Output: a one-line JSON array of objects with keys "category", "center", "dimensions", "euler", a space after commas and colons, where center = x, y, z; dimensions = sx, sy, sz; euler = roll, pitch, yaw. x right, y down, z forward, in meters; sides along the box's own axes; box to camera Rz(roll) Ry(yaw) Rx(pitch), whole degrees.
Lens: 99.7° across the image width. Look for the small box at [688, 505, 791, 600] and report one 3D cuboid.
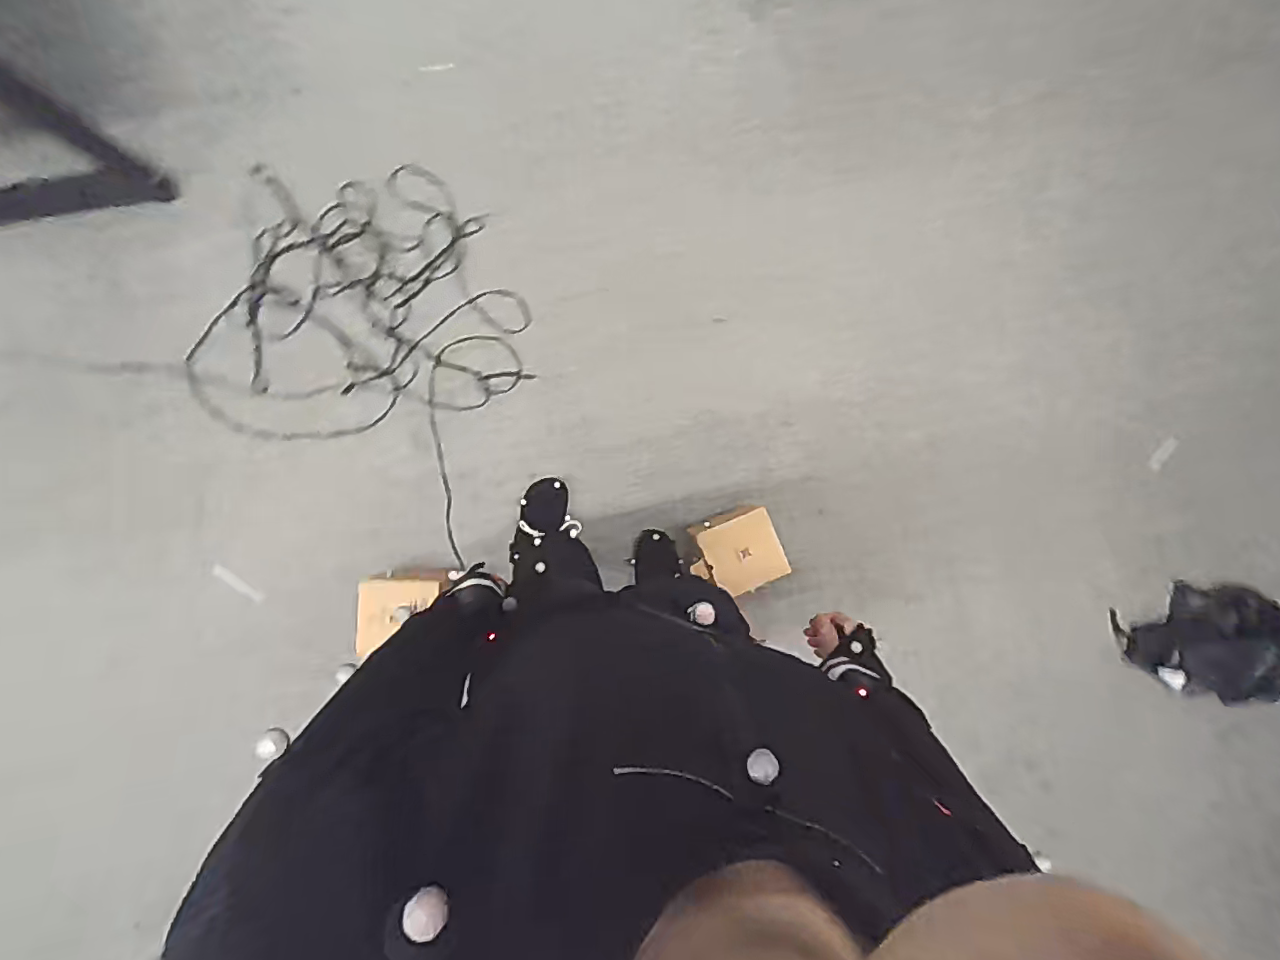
[{"category": "small box", "center": [0.232, 0.165, 1.304], "dimensions": [0.179, 0.176, 0.168], "euler": [-23, 90, -3]}]
